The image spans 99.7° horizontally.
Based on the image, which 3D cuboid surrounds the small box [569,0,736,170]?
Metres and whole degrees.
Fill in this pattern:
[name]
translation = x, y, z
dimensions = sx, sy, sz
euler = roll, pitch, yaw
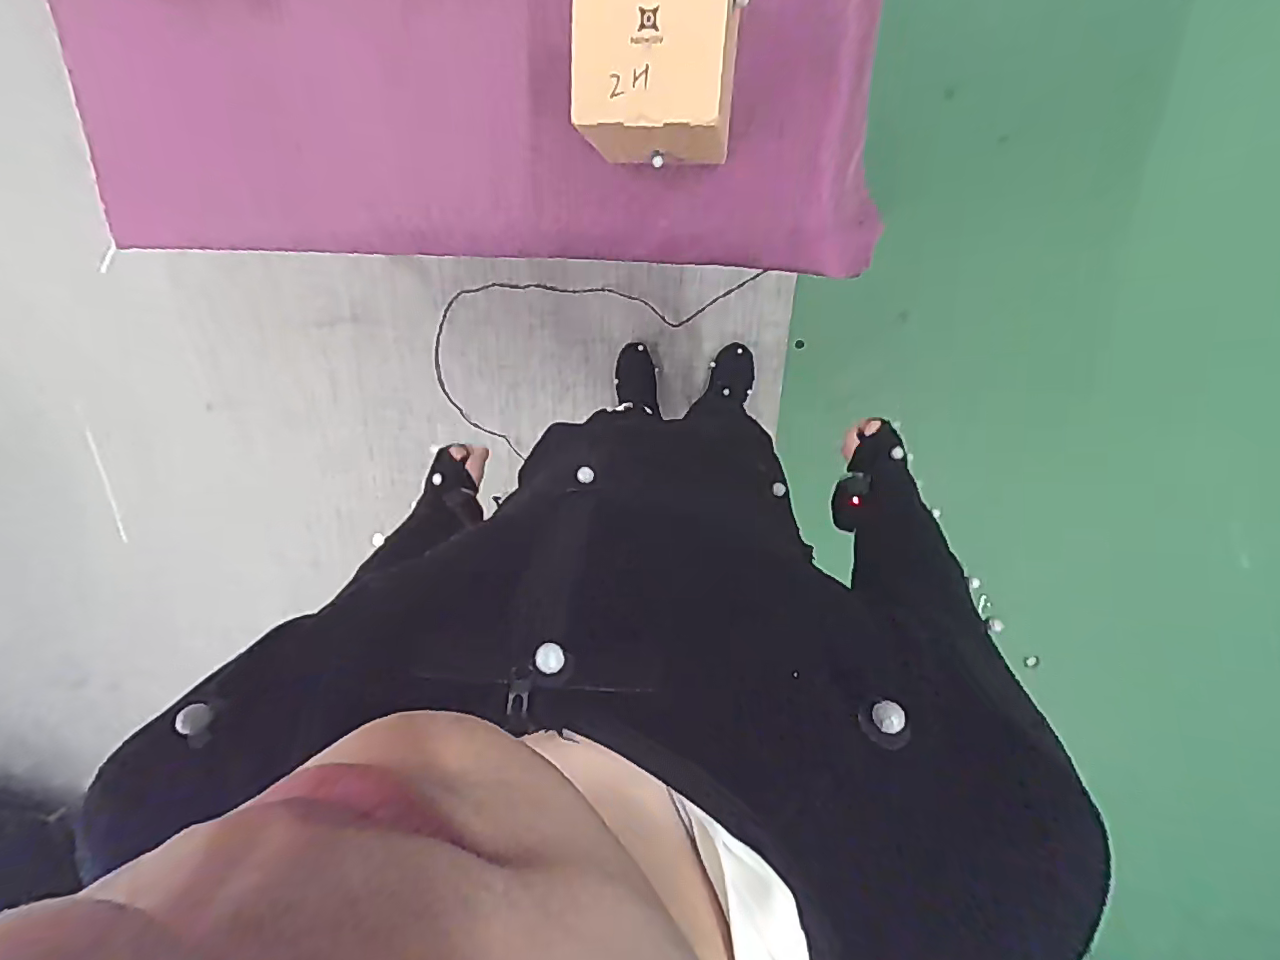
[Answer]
[small box]
translation = 0.022, -0.490, 0.643
dimensions = 0.168, 0.176, 0.179
euler = 7, 108, 10
